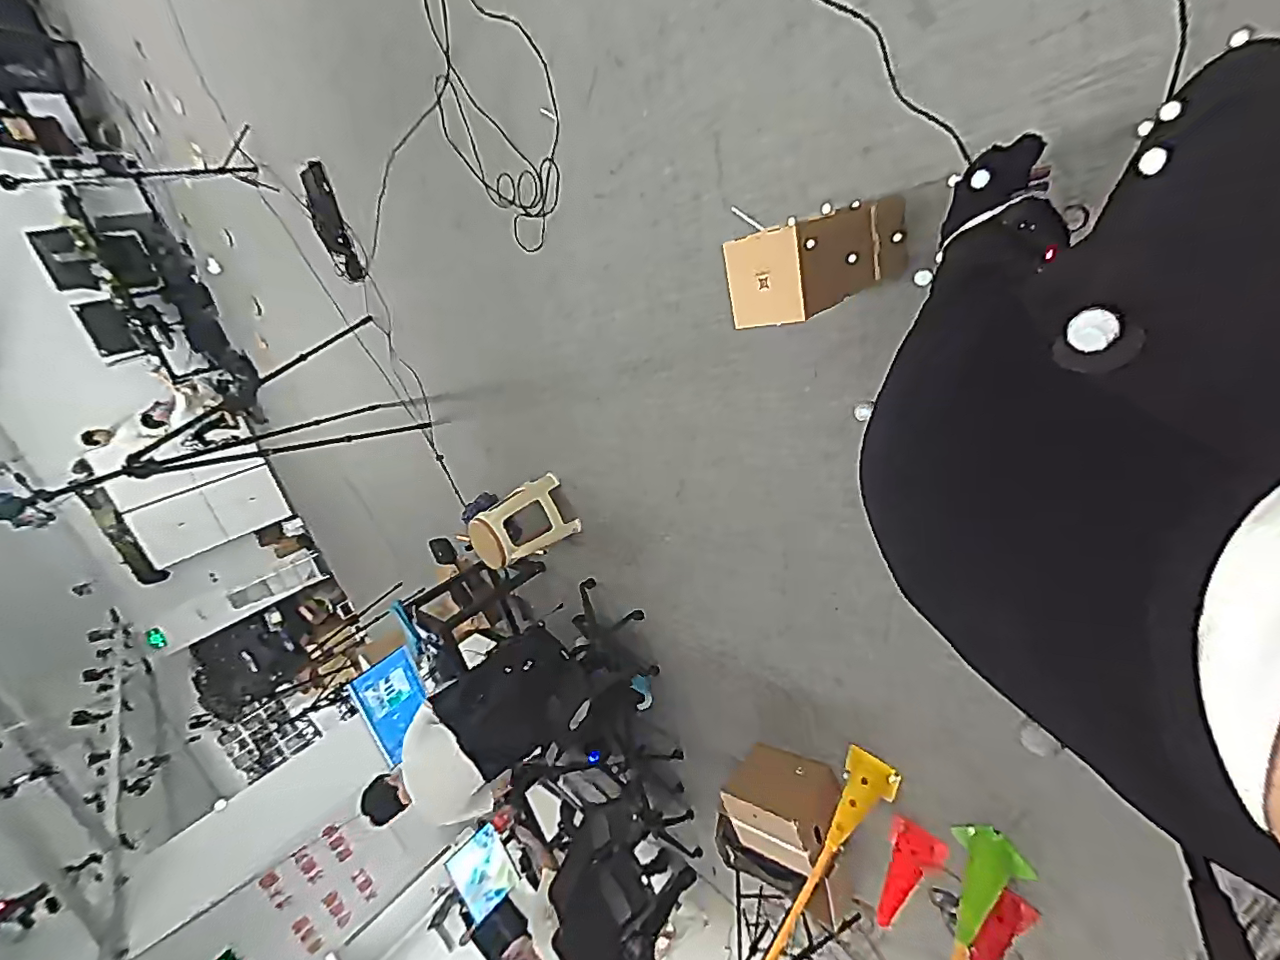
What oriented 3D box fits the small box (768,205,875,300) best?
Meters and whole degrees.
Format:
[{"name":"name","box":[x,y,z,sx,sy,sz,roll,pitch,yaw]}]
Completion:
[{"name":"small box","box":[0.413,-0.498,1.212,0.168,0.176,0.179,8,119,45]}]

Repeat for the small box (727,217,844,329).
[{"name":"small box","box":[0.306,-0.424,1.114,0.168,0.176,0.179,8,119,45]}]

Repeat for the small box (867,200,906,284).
[{"name":"small box","box":[0.528,-0.565,1.308,0.179,0.176,0.168,7,119,45]}]
